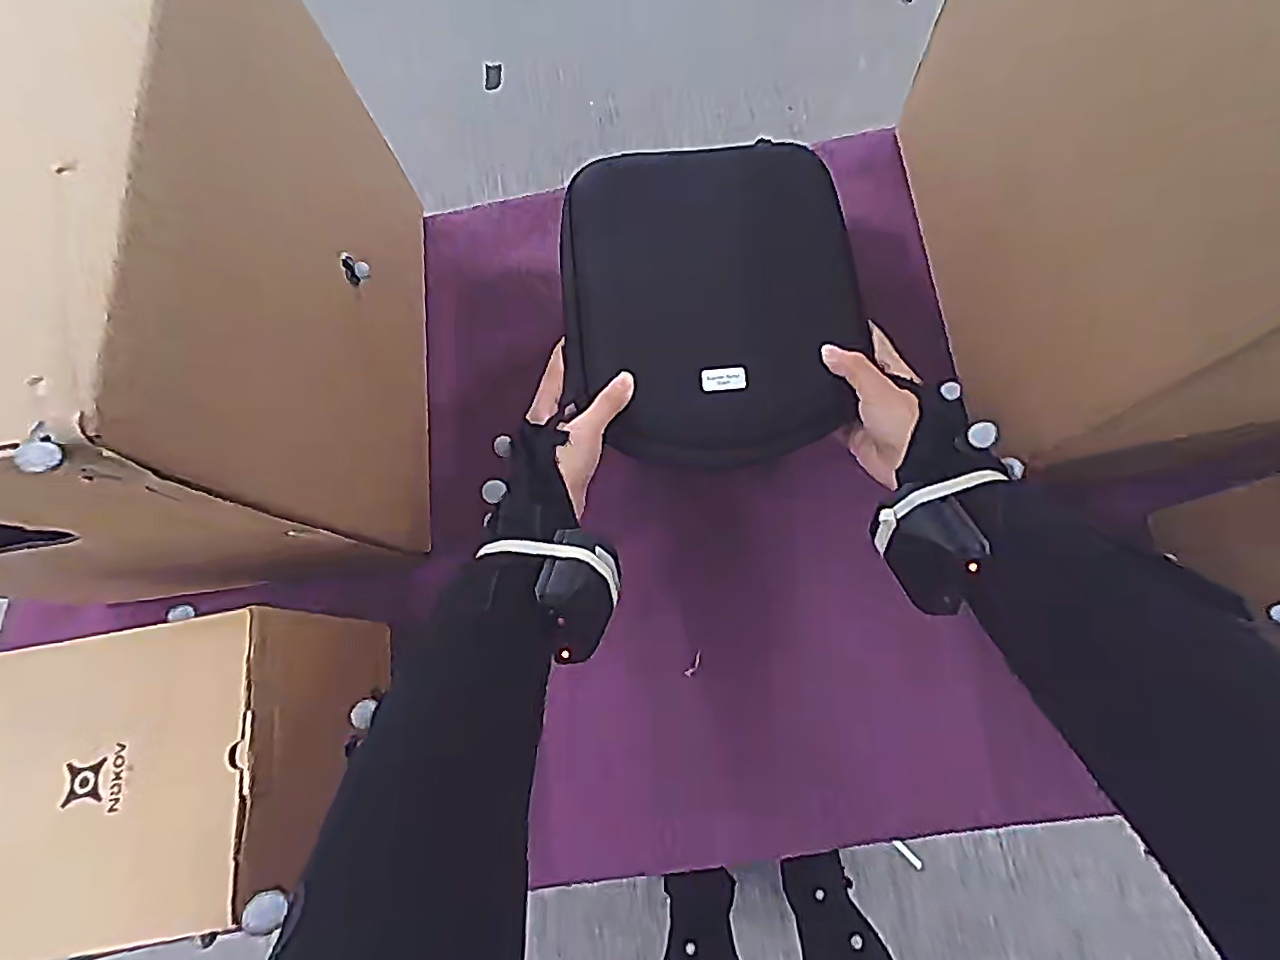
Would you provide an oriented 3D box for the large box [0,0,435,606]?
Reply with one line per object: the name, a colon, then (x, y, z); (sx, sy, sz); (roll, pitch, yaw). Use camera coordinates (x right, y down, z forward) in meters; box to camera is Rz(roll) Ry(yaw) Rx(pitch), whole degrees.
large box: (-0.380, -0.129, 0.423); (0.320, 0.320, 0.408); (-9, 75, 2)
